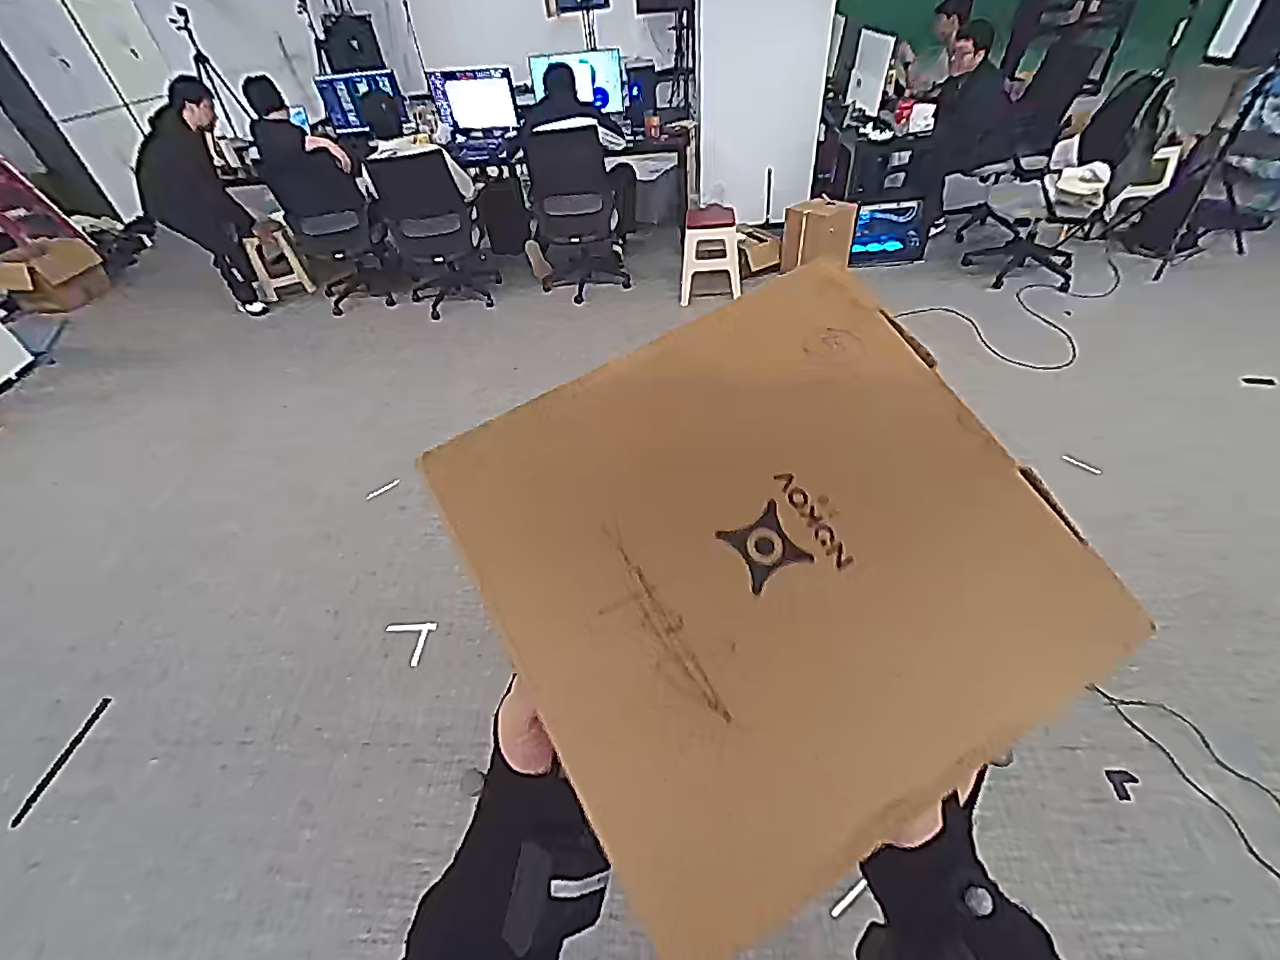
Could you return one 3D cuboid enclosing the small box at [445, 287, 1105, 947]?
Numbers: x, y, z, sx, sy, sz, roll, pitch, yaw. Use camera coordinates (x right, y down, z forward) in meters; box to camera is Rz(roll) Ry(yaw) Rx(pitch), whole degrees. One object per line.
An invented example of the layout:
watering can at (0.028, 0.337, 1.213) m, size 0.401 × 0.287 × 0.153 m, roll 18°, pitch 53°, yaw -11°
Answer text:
small box at (0.040, 0.051, 0.261) m, size 0.179 × 0.176 × 0.168 m, roll -29°, pitch 71°, yaw -12°
